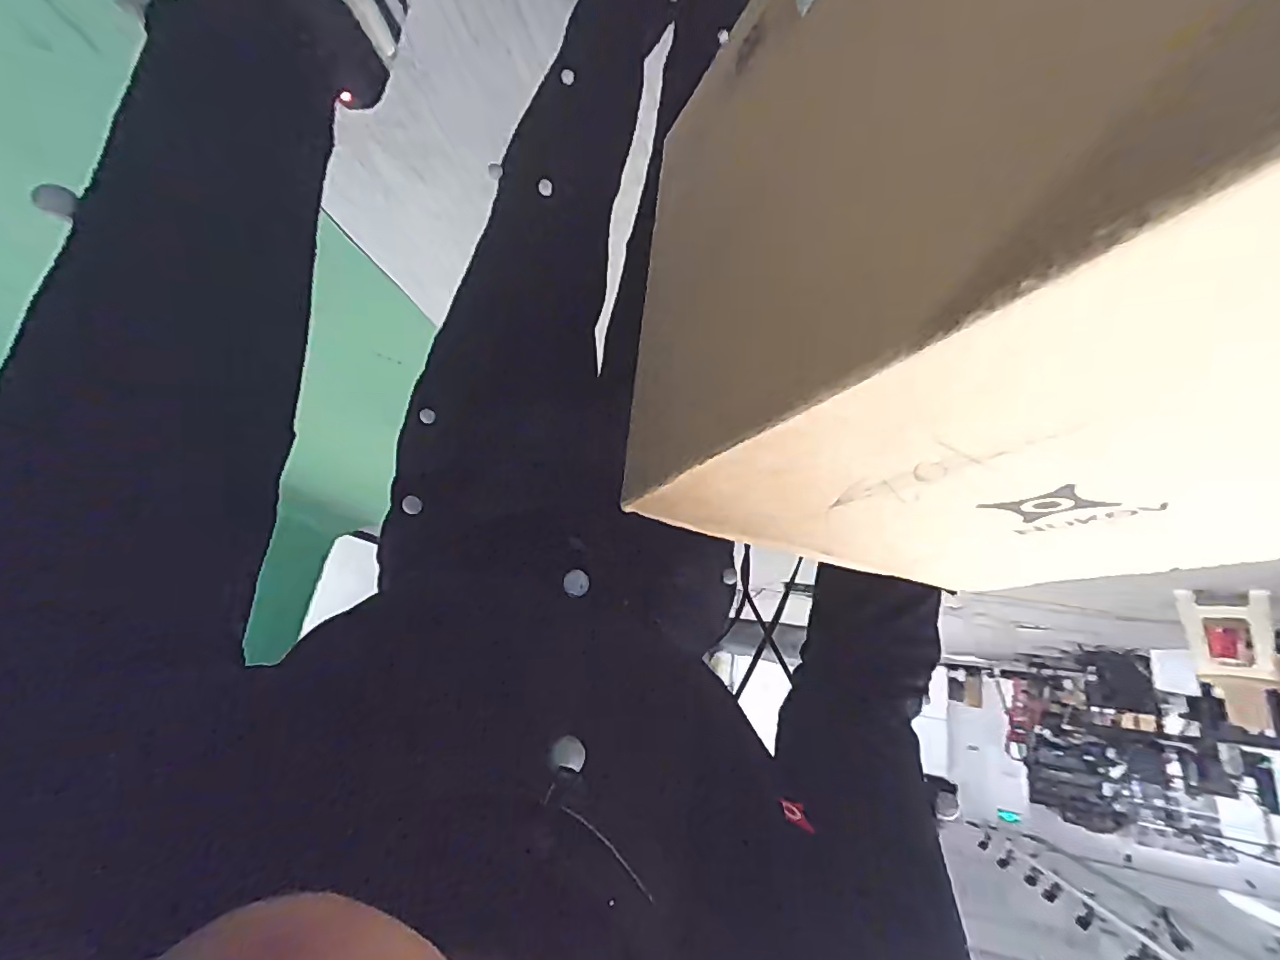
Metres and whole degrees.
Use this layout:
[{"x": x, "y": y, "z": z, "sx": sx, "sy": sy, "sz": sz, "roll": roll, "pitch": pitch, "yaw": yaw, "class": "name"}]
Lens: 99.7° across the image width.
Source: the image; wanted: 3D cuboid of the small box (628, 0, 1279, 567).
[{"x": 0.116, "y": -0.078, "z": 0.173, "sx": 0.179, "sy": 0.176, "sz": 0.168, "roll": 16, "pitch": 157, "yaw": -23, "class": "small box"}]

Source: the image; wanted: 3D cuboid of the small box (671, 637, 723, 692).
[{"x": 0.220, "y": 0.693, "z": 2.039, "sx": 0.168, "sy": 0.176, "sz": 0.179, "roll": 4, "pitch": 161, "yaw": 15, "class": "small box"}]
